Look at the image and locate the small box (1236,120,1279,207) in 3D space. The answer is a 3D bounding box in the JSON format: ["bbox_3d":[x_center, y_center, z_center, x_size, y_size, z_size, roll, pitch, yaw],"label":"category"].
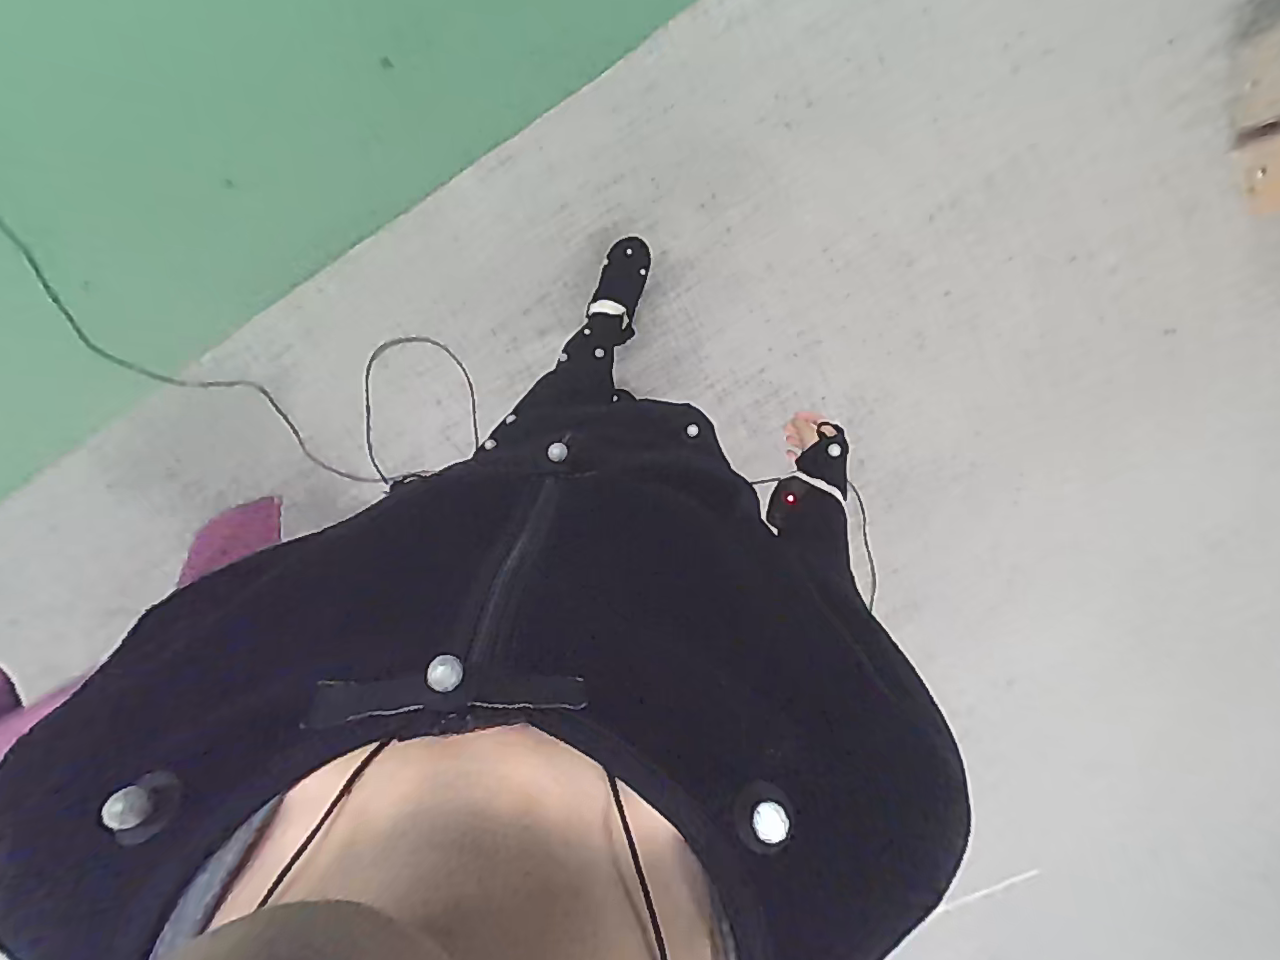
[{"bbox_3d":[1.495,-0.733,1.185,0.179,0.176,0.168,-29,103,10],"label":"small box"}]

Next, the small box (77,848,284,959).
[{"bbox_3d":[-0.761,0.763,0.910,0.168,0.176,0.179,-27,102,9],"label":"small box"}]
